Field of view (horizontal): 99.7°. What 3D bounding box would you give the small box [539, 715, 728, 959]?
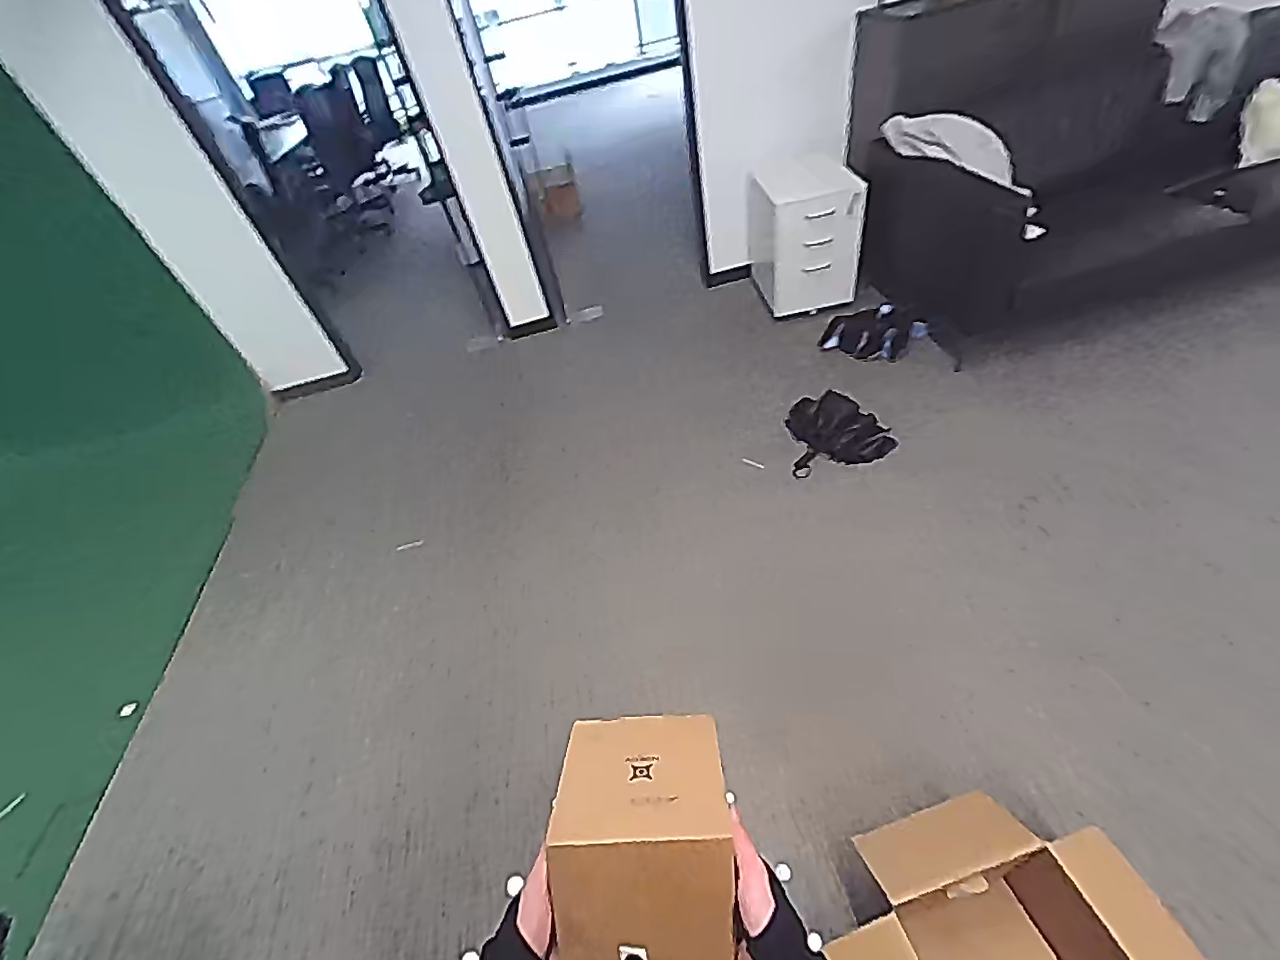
[{"bbox_3d":[-0.001,0.374,0.564,0.168,0.176,0.179,-4,12,3],"label":"small box"}]
